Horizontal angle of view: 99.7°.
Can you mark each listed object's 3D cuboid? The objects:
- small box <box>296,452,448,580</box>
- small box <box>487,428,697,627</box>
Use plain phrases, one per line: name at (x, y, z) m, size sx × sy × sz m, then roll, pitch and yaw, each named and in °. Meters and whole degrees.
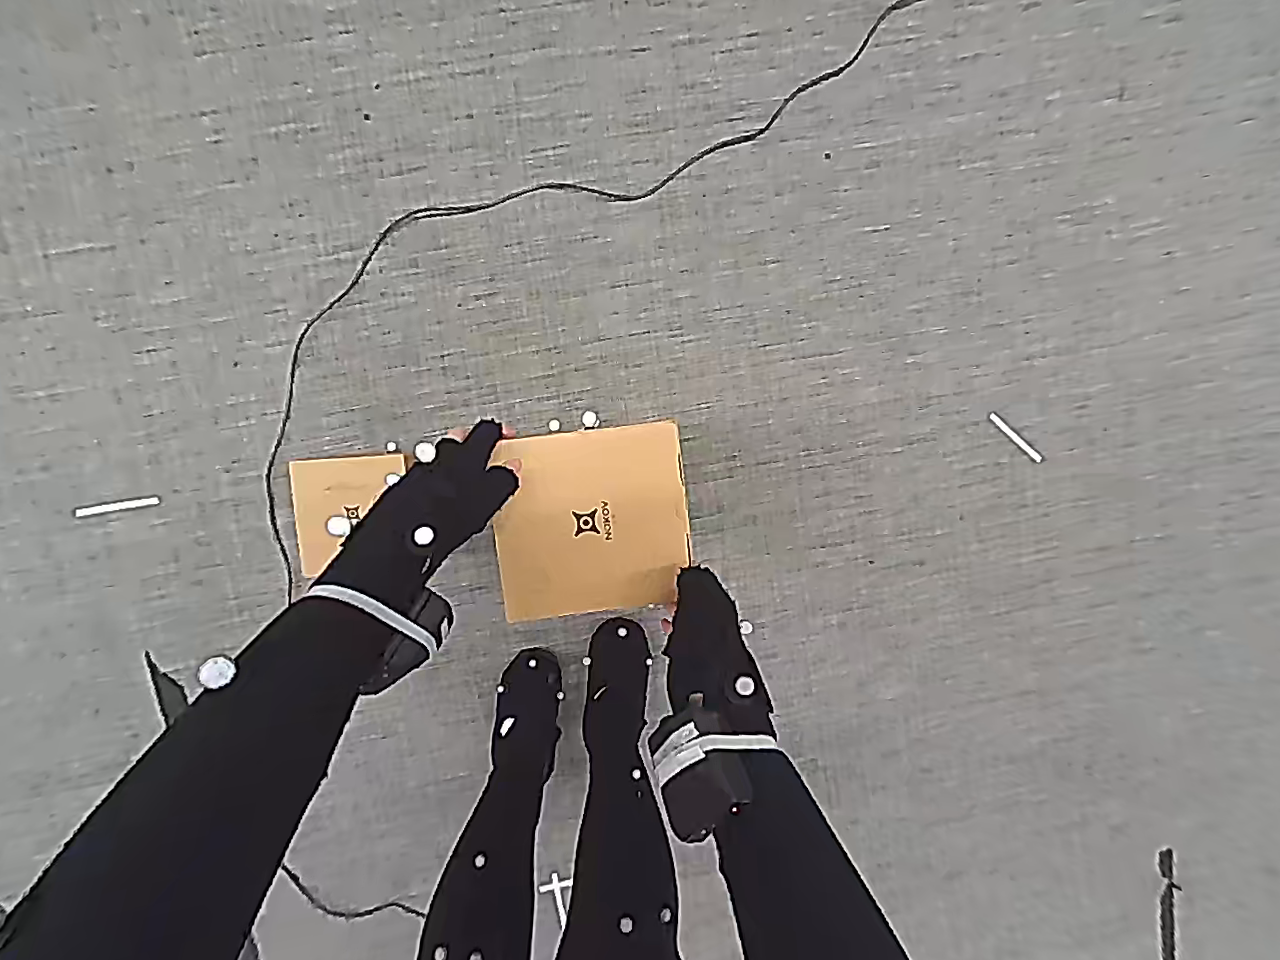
small box at (-0.419, 0.050, 0.875) m, size 0.168 × 0.176 × 0.179 m, roll -3°, pitch 96°, yaw -4°
small box at (-0.045, 0.038, 0.565) m, size 0.179 × 0.176 × 0.168 m, roll -7°, pitch 96°, yaw -4°
